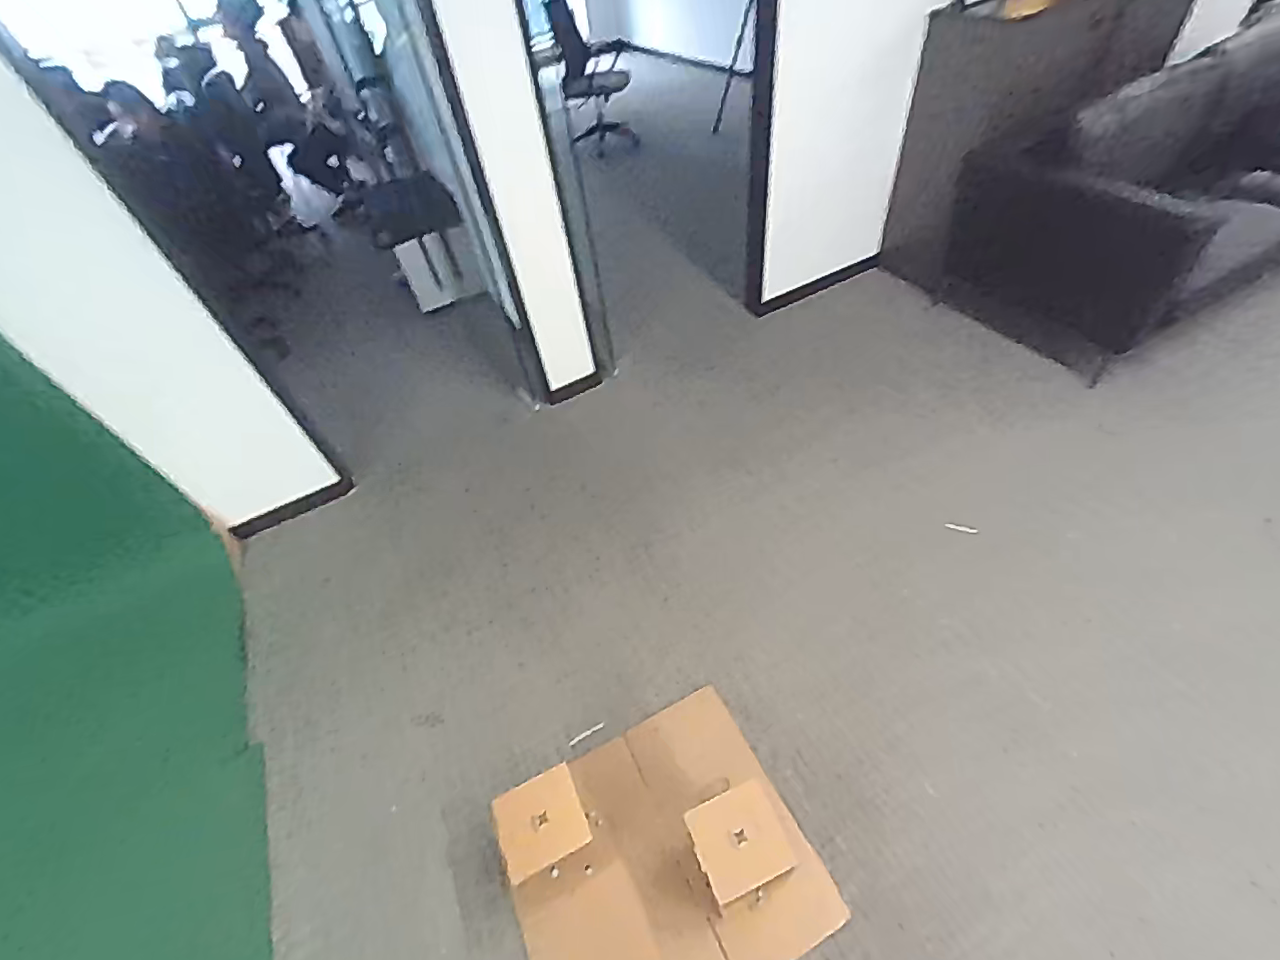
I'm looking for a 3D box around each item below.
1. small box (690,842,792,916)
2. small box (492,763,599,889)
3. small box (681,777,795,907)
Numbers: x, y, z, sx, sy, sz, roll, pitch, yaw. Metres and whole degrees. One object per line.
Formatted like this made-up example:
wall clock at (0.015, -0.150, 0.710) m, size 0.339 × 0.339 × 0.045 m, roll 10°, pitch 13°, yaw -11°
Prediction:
small box at (0.223, 0.868, 1.248) m, size 0.179 × 0.176 × 0.168 m, roll -22°, pitch 49°, yaw -11°
small box at (-0.199, 0.760, 1.186) m, size 0.179 × 0.176 × 0.168 m, roll -24°, pitch 50°, yaw -12°
small box at (0.202, 0.758, 1.128) m, size 0.179 × 0.176 × 0.168 m, roll -21°, pitch 50°, yaw -9°
